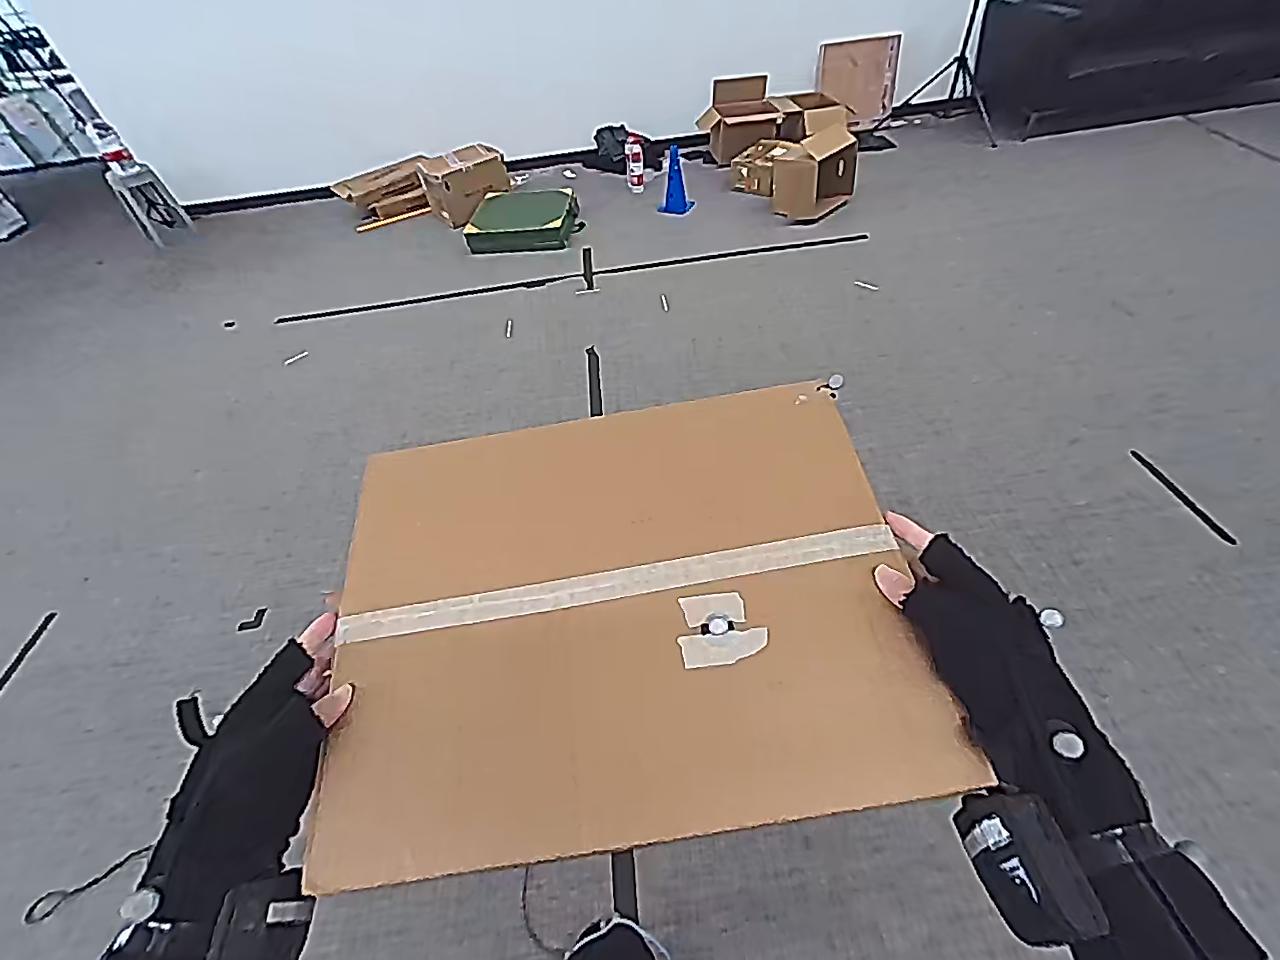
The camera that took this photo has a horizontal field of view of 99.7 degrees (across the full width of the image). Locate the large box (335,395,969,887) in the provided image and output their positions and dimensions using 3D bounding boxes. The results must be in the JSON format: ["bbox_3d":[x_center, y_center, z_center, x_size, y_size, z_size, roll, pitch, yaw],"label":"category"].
[{"bbox_3d":[-0.002,0.162,0.532,0.408,0.320,0.320,-9,59,0],"label":"large box"}]
